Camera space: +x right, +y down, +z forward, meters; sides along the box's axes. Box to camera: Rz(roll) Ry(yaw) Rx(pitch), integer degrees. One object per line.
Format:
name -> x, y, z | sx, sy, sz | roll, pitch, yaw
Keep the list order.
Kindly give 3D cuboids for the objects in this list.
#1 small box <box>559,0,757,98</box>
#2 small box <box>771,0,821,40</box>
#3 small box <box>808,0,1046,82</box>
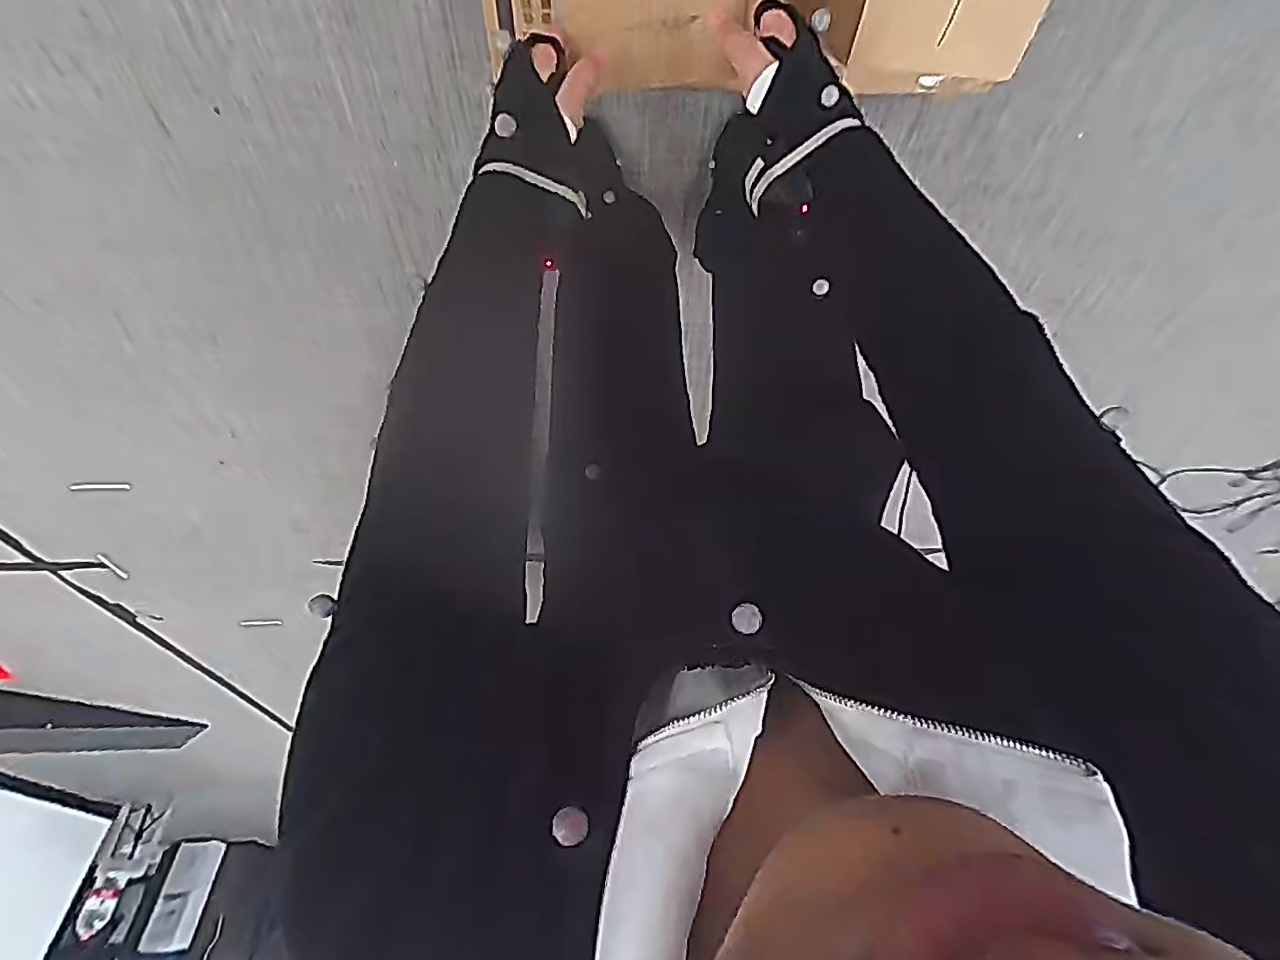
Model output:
small box -> 0.014, -0.471, 0.483 | 0.168, 0.176, 0.179 | -3, 135, 8
small box -> 0.255, -0.621, 0.610 | 0.168, 0.176, 0.179 | -1, 138, -2
small box -> 0.273, -0.501, 0.501 | 0.168, 0.176, 0.179 | 1, 138, -5
